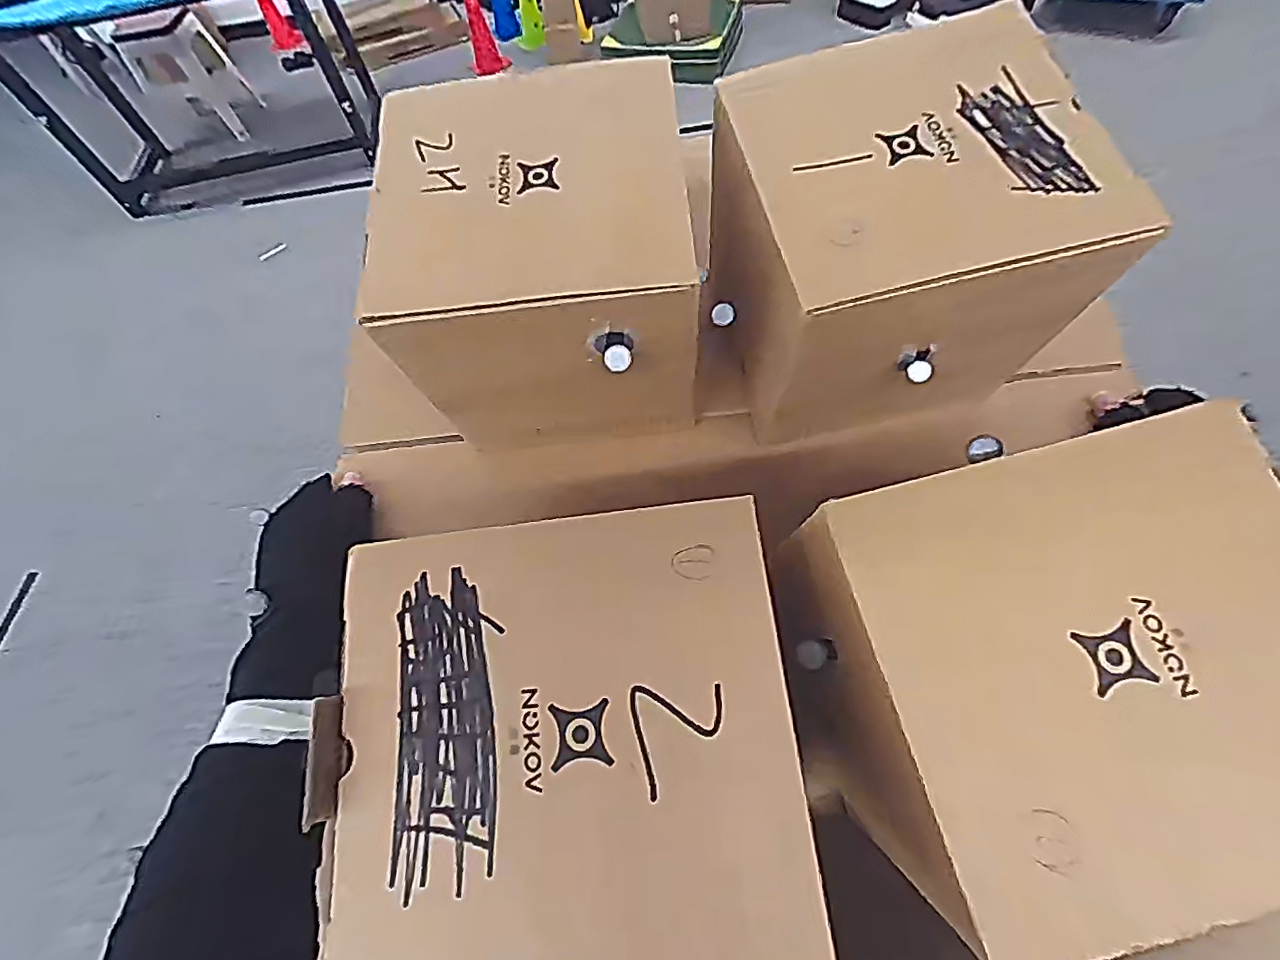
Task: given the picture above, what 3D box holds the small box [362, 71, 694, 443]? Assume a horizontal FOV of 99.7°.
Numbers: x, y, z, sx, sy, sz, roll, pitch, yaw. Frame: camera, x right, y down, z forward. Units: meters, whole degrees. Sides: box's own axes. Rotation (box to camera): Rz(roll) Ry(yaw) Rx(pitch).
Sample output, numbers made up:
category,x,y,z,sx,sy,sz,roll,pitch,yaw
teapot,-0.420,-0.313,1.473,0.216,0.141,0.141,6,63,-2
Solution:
category,x,y,z,sx,sy,sz,roll,pitch,yaw
small box,-0.057,-0.136,0.379,0.179,0.176,0.168,-5,70,4
